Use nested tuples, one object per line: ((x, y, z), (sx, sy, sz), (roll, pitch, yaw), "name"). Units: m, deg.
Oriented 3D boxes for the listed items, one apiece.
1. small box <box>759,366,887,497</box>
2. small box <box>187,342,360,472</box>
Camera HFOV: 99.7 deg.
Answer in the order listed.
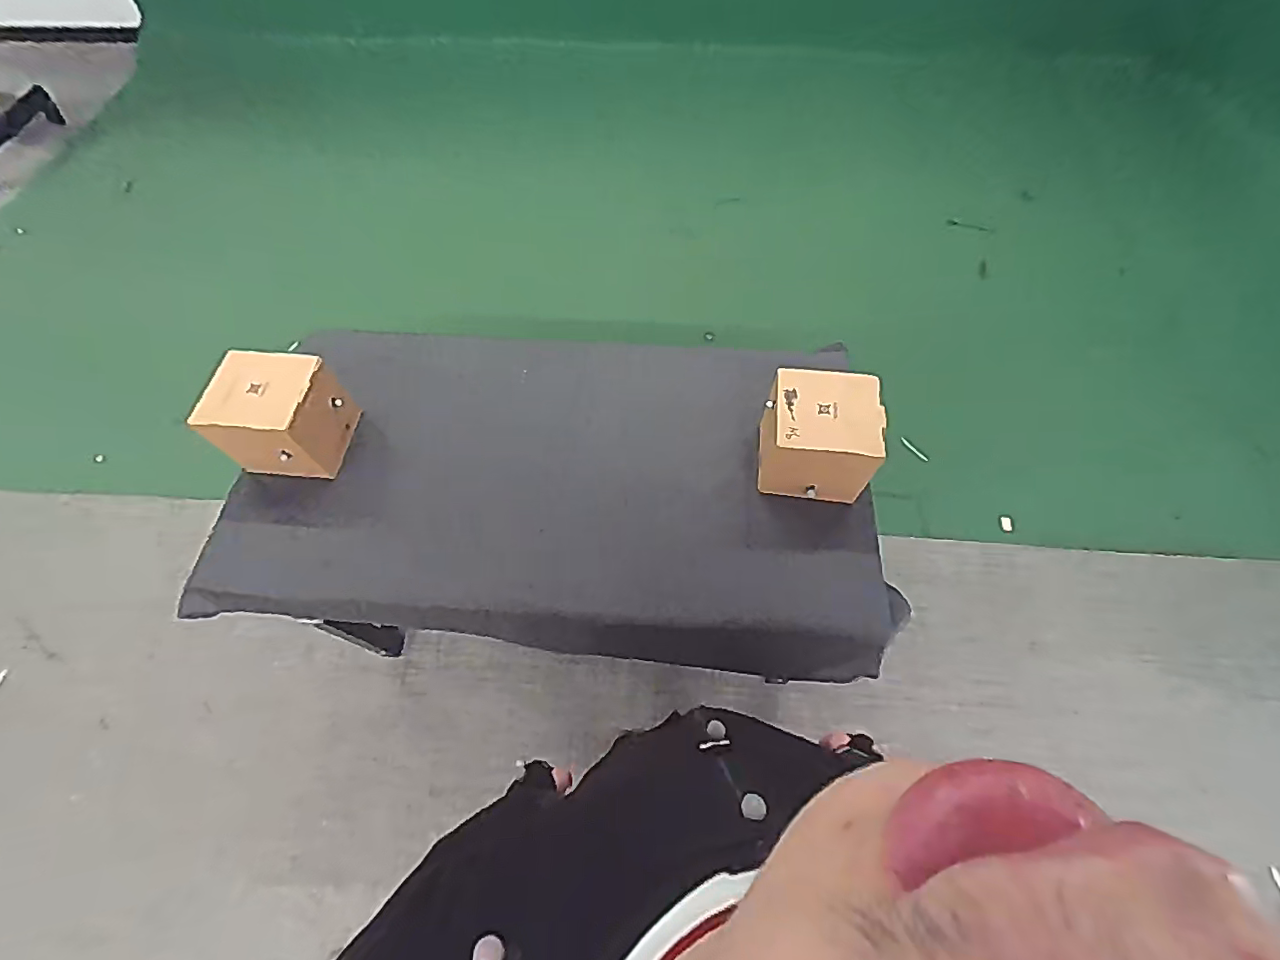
((0.322, -0.081, 0.975), (0.179, 0.176, 0.168), (7, 63, 4), "small box")
((-0.657, -0.128, 0.999), (0.179, 0.176, 0.168), (6, 60, 4), "small box")
